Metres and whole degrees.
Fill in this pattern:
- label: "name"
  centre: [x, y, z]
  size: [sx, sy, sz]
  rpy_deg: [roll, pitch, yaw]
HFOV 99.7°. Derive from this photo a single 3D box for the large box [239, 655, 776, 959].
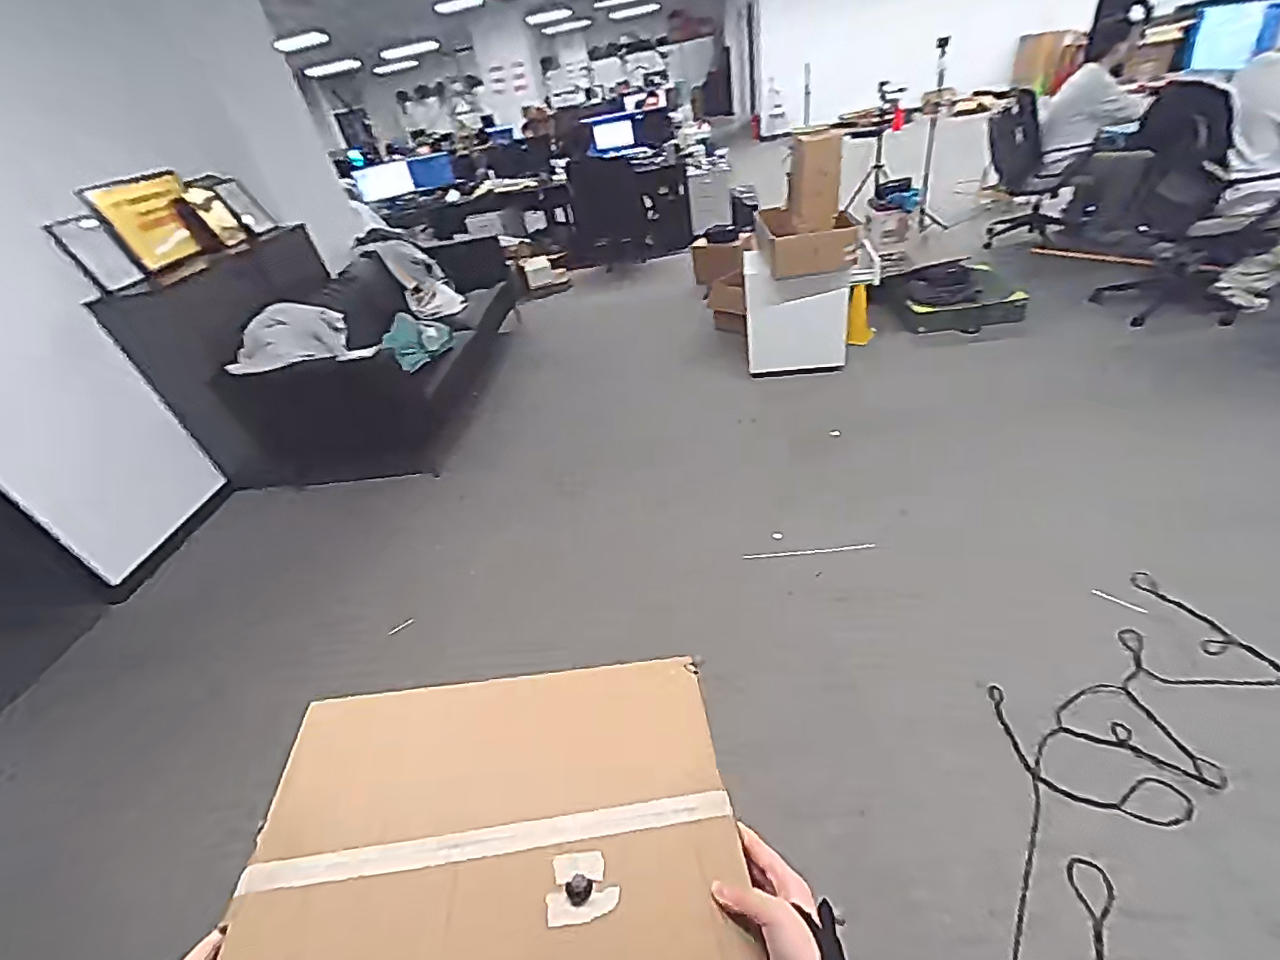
- label: "large box"
  centre: [-0.117, 0.425, 0.566]
  size: [0.408, 0.320, 0.320]
  rpy_deg: [-3, 38, -7]
